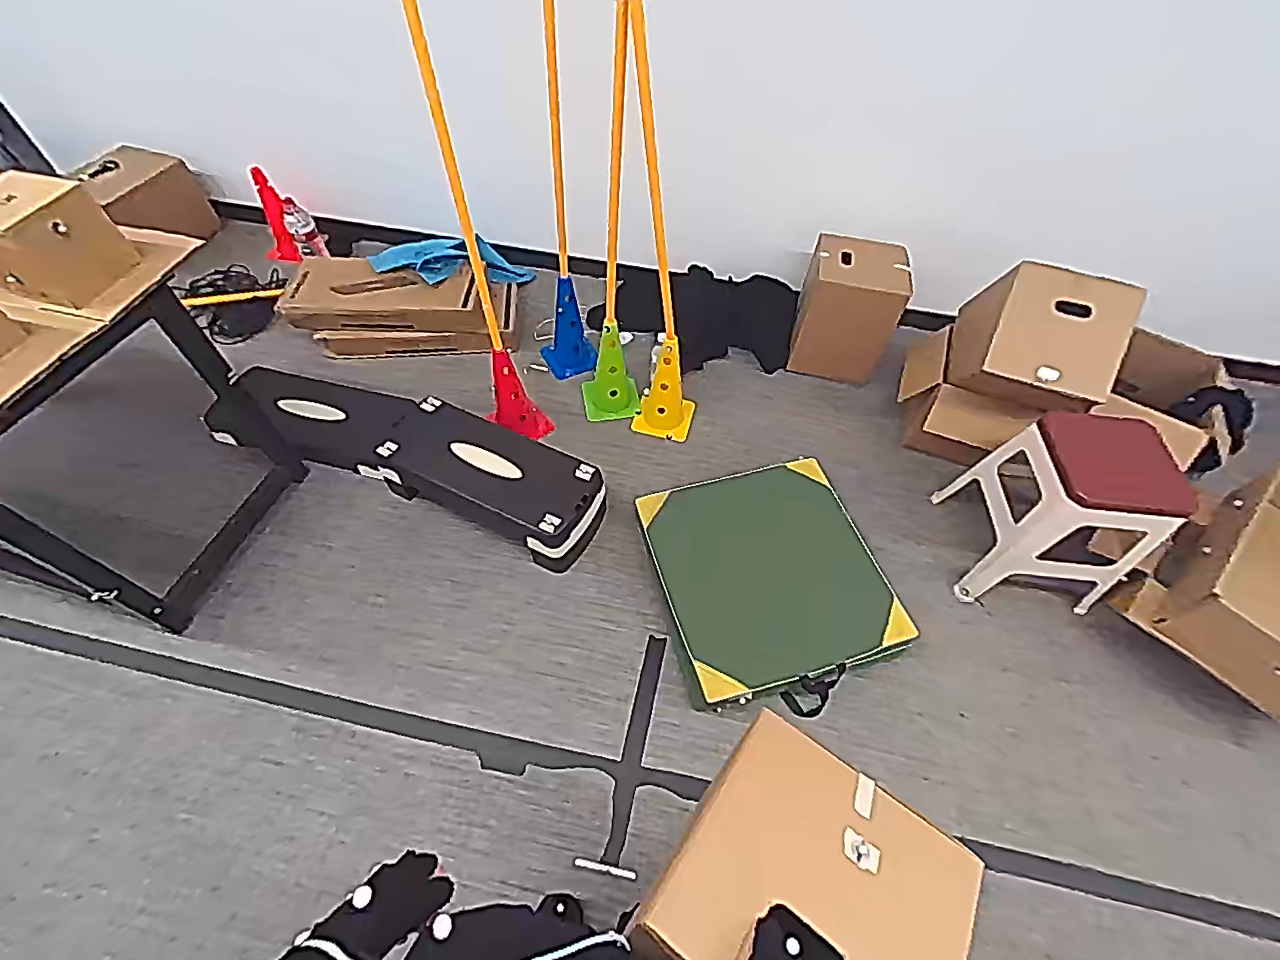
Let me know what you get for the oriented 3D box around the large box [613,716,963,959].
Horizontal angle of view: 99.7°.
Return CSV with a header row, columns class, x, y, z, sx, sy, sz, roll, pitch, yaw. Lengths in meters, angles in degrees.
class,x,y,z,sx,sy,sz,roll,pitch,yaw
large box,0.185,0.627,0.771,0.320,0.408,0.320,31,46,22
